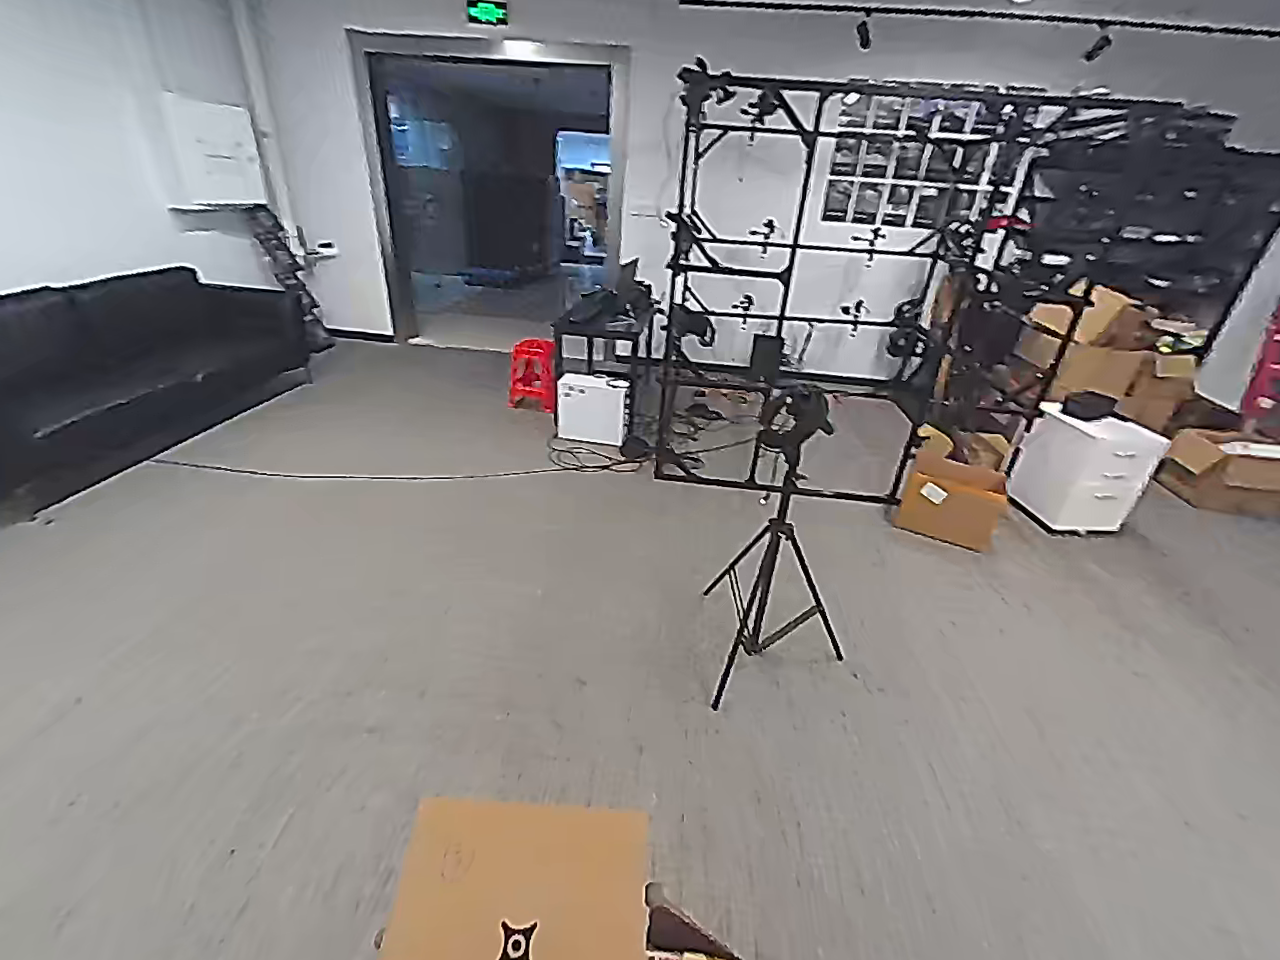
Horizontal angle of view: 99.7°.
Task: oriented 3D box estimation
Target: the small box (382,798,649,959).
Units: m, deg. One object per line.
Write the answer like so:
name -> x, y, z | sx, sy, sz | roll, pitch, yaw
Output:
small box -> -0.087, 0.356, 0.392 | 0.168, 0.176, 0.179 | 5, 46, -3
